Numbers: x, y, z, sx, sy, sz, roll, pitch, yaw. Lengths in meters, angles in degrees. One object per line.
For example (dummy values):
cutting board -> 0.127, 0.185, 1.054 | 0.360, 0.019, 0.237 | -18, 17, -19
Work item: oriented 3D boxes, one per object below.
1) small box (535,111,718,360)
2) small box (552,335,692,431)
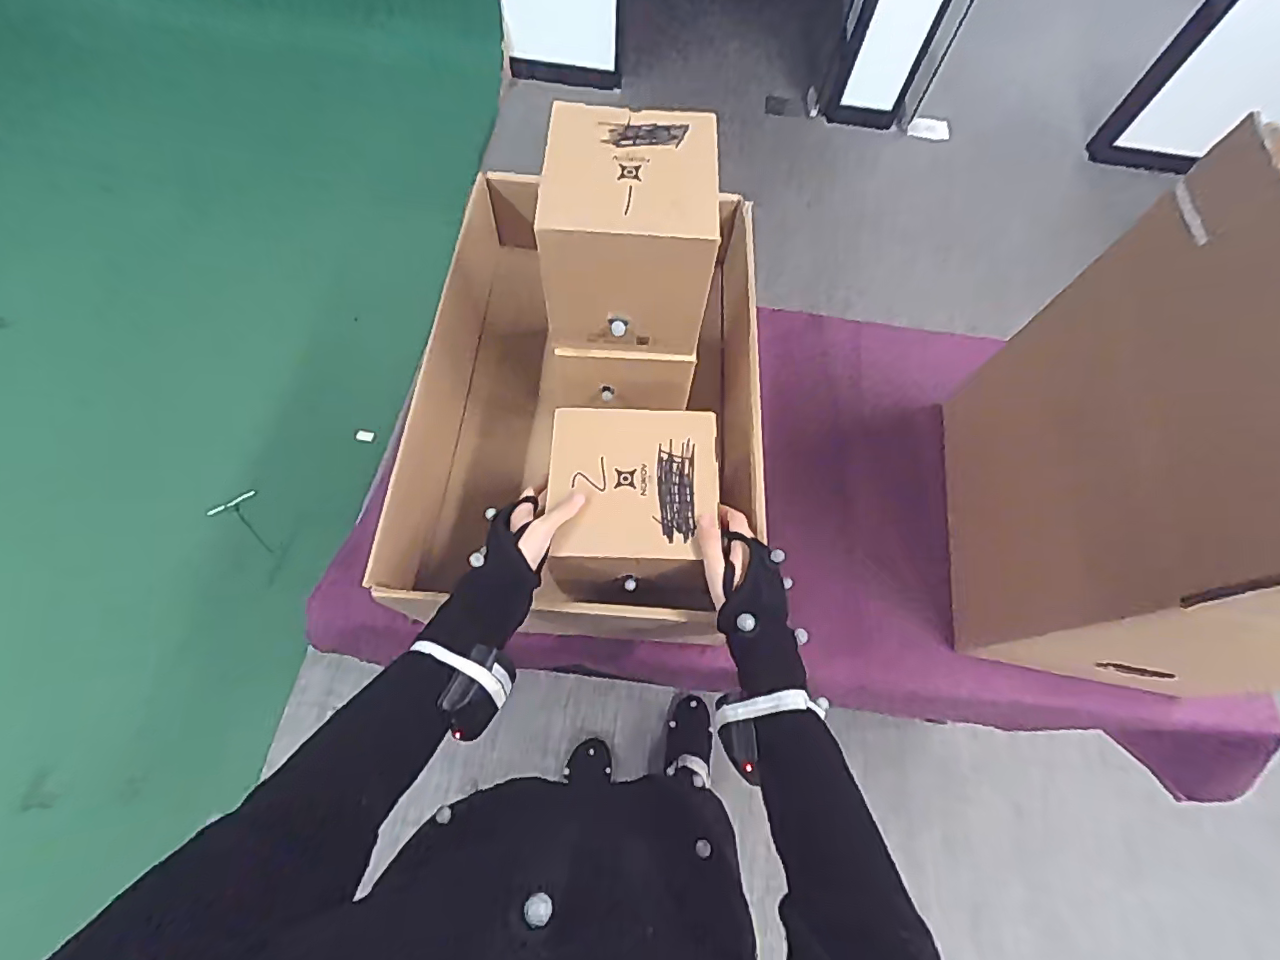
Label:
small box -> -0.012, -0.254, 0.583 | 0.168, 0.176, 0.179 | 3, 67, -1
small box -> -0.020, -0.179, 0.730 | 0.168, 0.176, 0.179 | 2, 65, -2
